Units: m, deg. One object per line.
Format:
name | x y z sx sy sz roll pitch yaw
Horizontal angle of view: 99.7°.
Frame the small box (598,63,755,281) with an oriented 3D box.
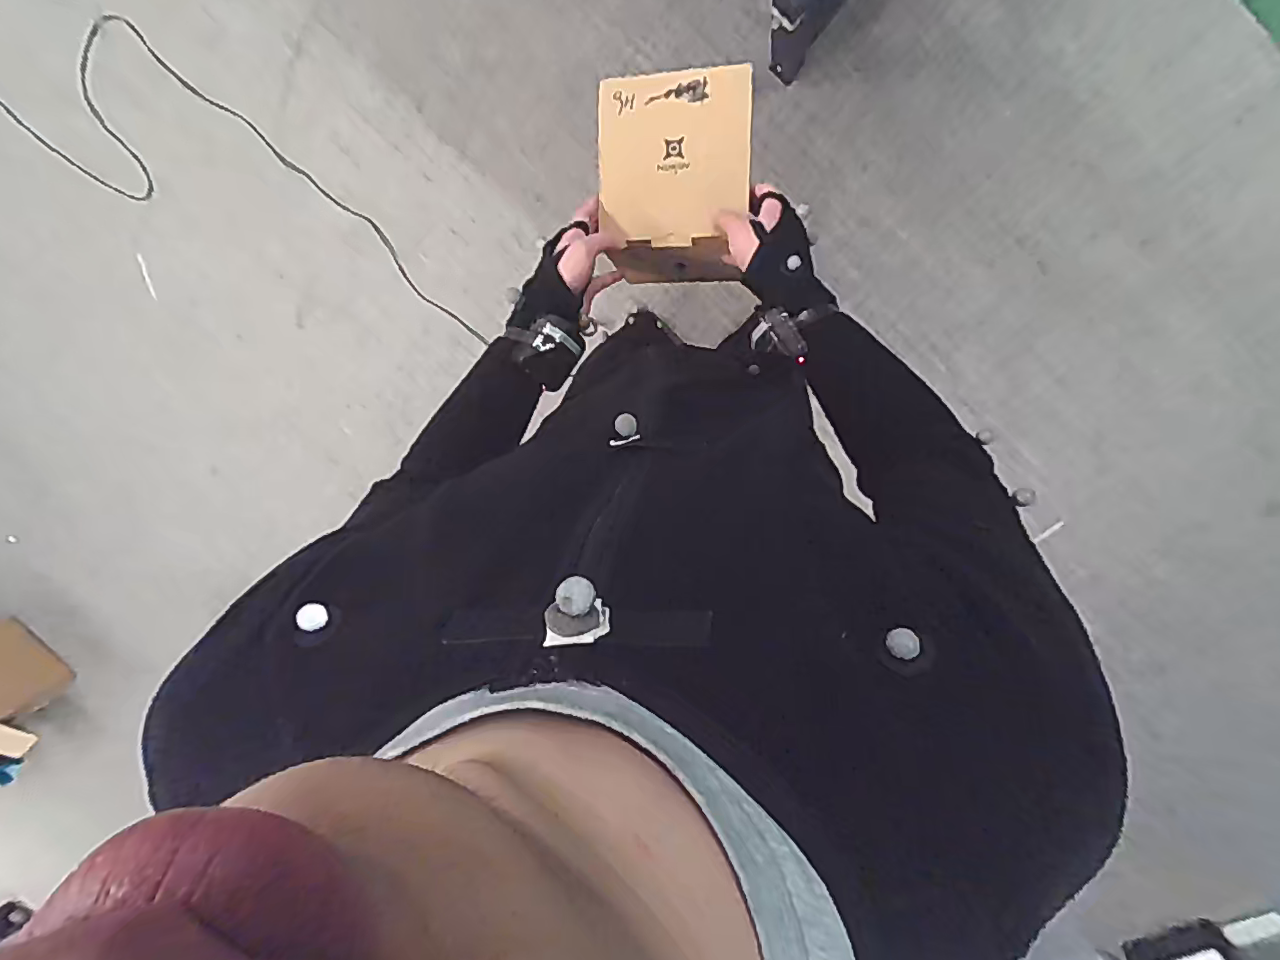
small box | 0.050 -0.343 0.643 0.168 0.176 0.179 2 95 10
